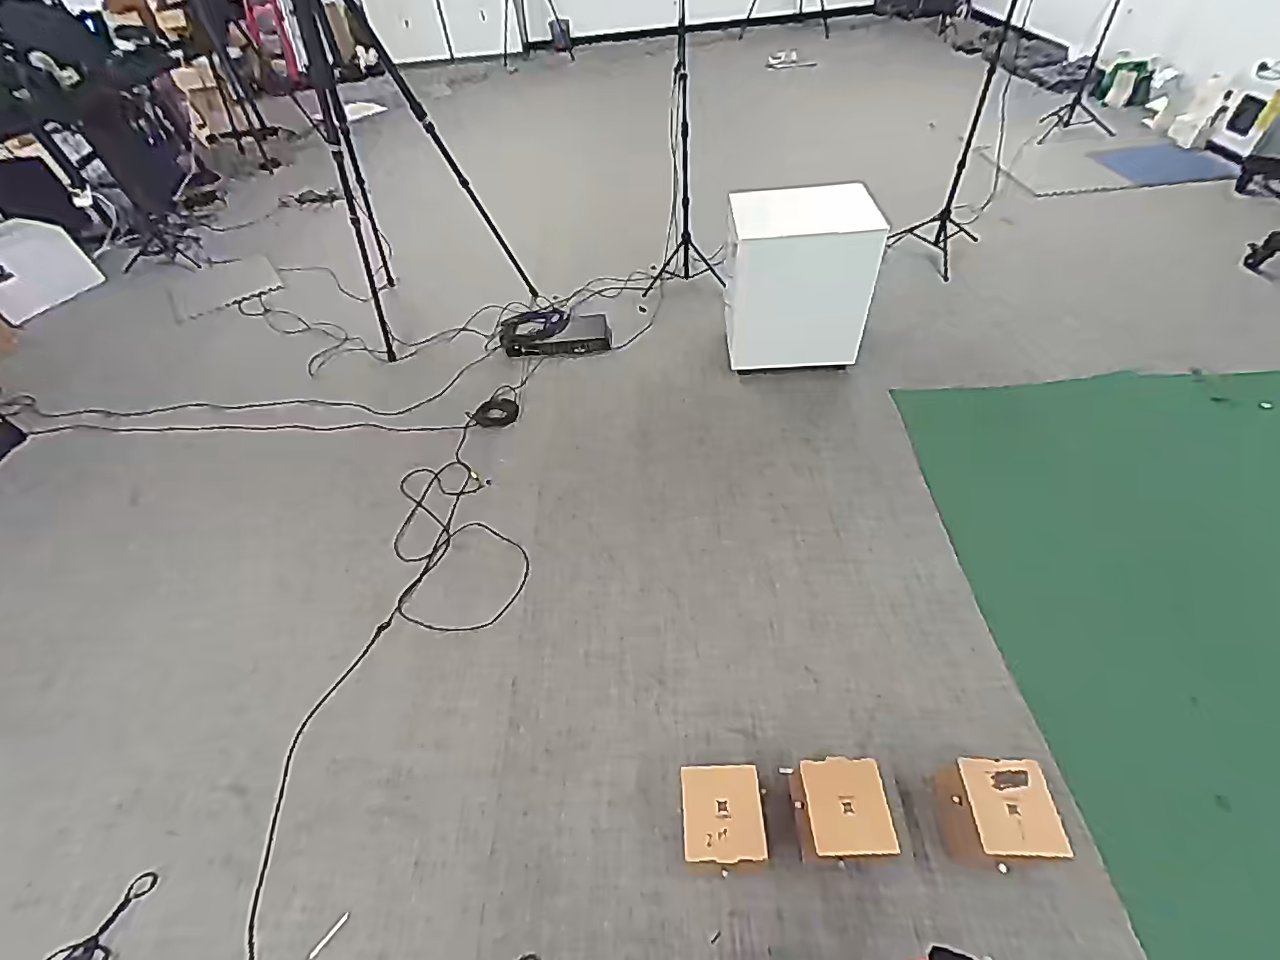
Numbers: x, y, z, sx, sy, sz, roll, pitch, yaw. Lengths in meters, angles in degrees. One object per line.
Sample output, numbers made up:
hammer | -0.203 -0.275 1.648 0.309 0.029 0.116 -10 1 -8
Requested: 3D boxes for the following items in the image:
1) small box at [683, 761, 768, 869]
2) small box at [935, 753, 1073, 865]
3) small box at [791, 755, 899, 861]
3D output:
small box | 0.180 0.735 1.186 0.168 0.176 0.179 -4 49 4
small box | 0.760 0.704 1.156 0.168 0.176 0.179 -1 50 5
small box | 0.435 0.719 1.178 0.168 0.176 0.179 -4 48 2
